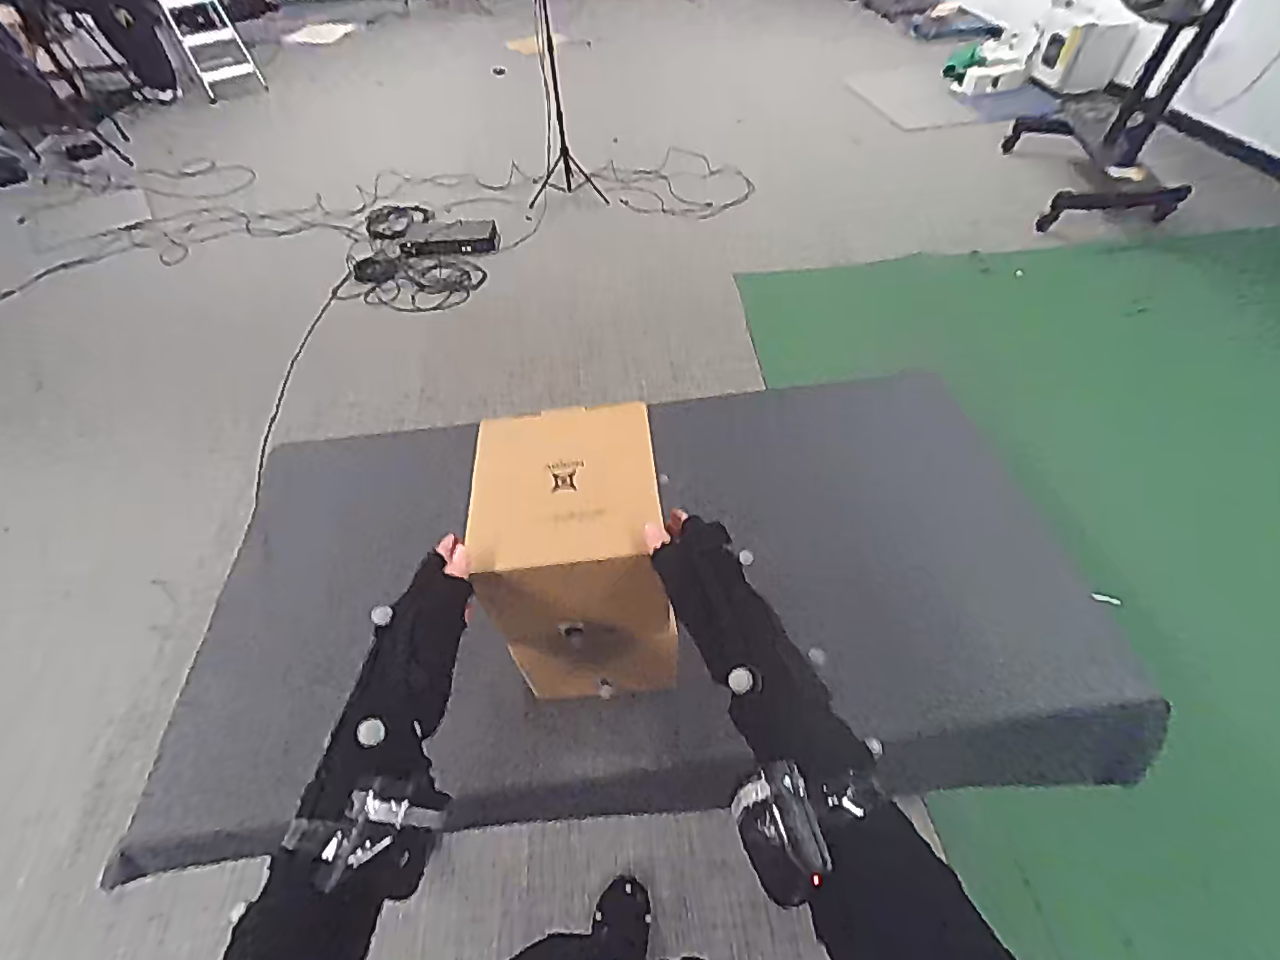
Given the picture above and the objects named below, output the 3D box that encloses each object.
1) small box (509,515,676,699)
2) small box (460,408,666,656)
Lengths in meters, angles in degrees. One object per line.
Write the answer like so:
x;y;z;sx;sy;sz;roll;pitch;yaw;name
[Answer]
-0.054;0.158;0.671;0.179;0.176;0.168;-5;50;-2;small box
-0.066;0.054;0.545;0.168;0.176;0.179;-7;49;-1;small box
